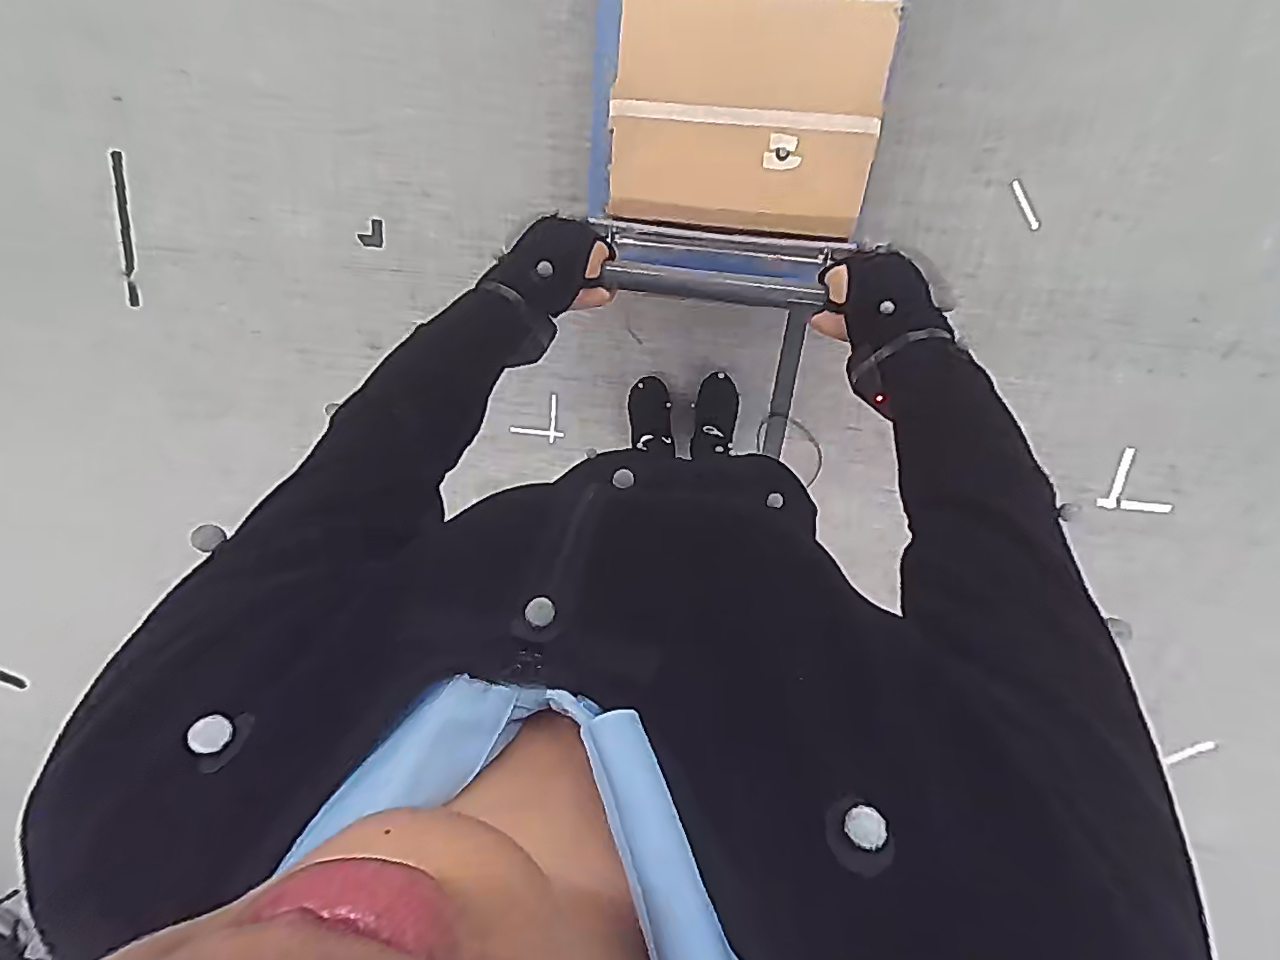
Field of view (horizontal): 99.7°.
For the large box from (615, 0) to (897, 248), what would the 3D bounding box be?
[{"bbox_3d":[0.179,-0.614,0.986,0.408,0.320,0.320,7,111,4],"label":"large box"}]
